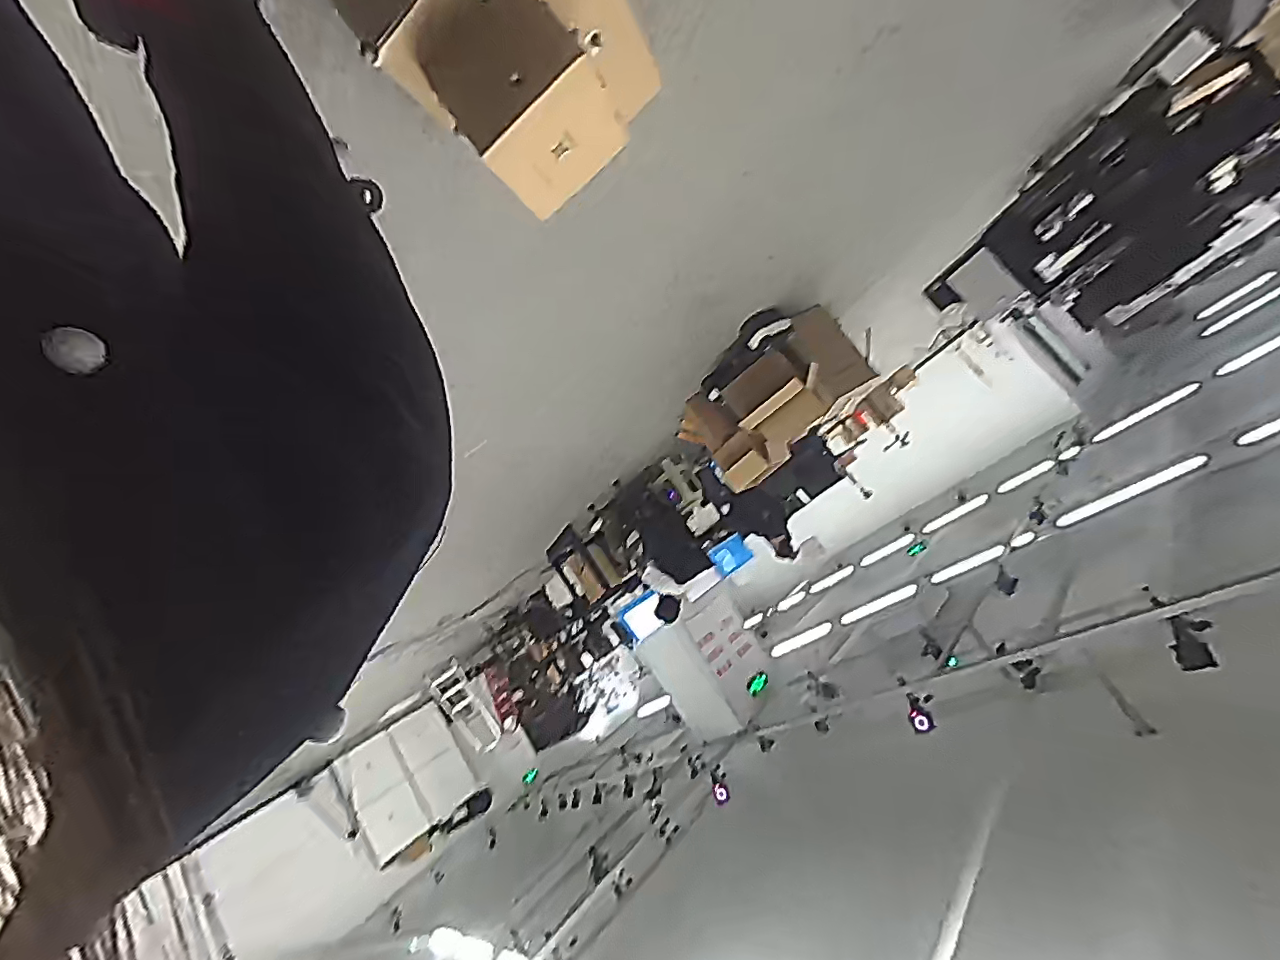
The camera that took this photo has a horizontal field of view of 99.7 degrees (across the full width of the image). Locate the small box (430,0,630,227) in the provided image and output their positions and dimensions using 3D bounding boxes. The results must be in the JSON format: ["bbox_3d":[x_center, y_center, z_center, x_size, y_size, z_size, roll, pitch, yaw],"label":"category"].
[{"bbox_3d":[-0.148,-0.501,0.740,0.179,0.176,0.168,-37,166,14],"label":"small box"}]

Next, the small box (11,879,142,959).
[{"bbox_3d":[-1.461,1.180,1.410,0.179,0.176,0.168,-25,165,-36],"label":"small box"}]
